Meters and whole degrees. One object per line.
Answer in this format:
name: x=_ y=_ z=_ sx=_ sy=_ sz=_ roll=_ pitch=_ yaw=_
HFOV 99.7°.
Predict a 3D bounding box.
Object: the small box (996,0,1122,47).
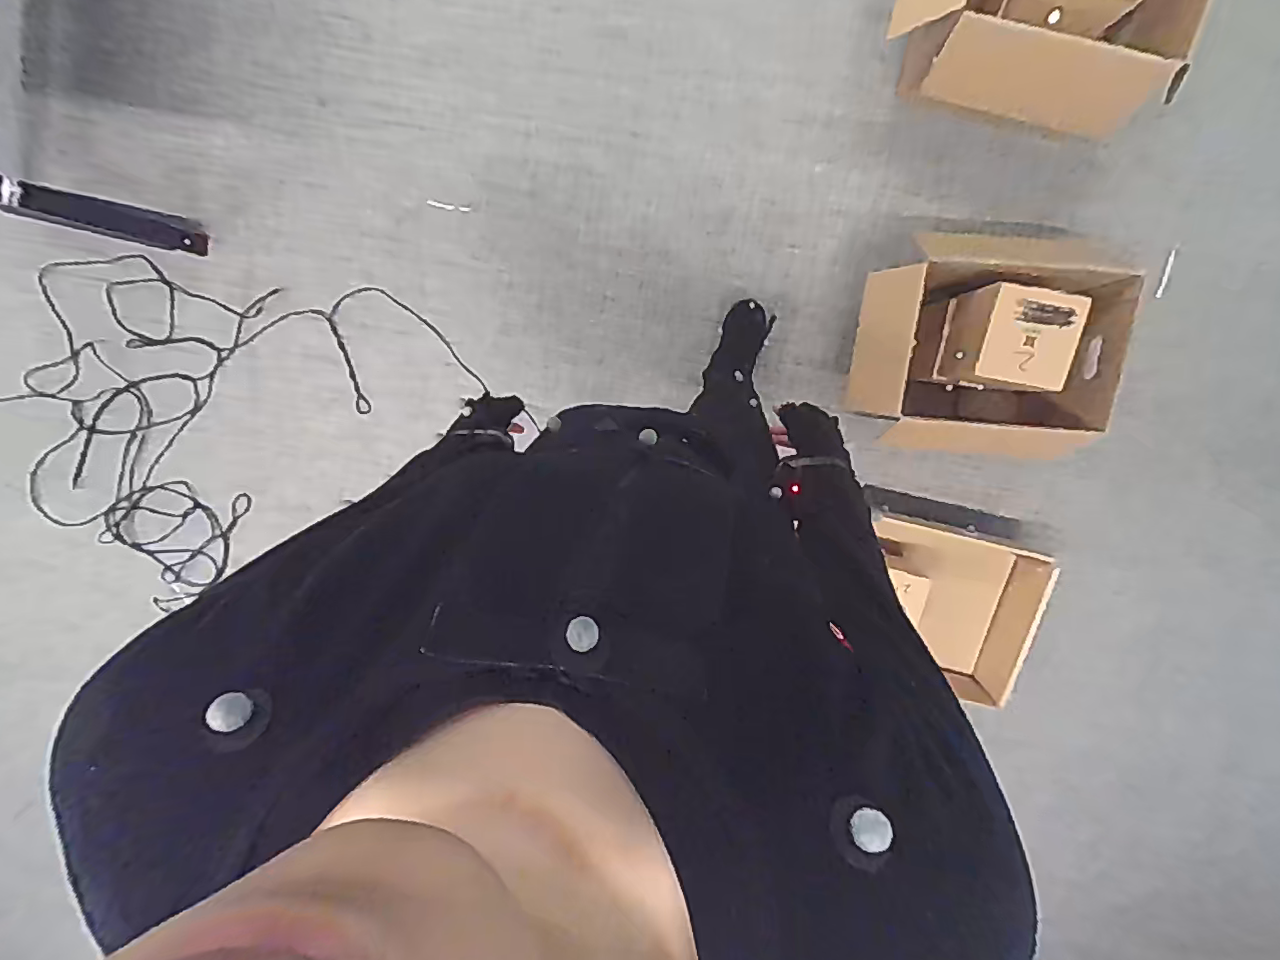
small box: x=0.794 y=-0.942 z=0.983 sx=0.168 sy=0.176 sz=0.179 roll=15 pitch=101 yaw=0
